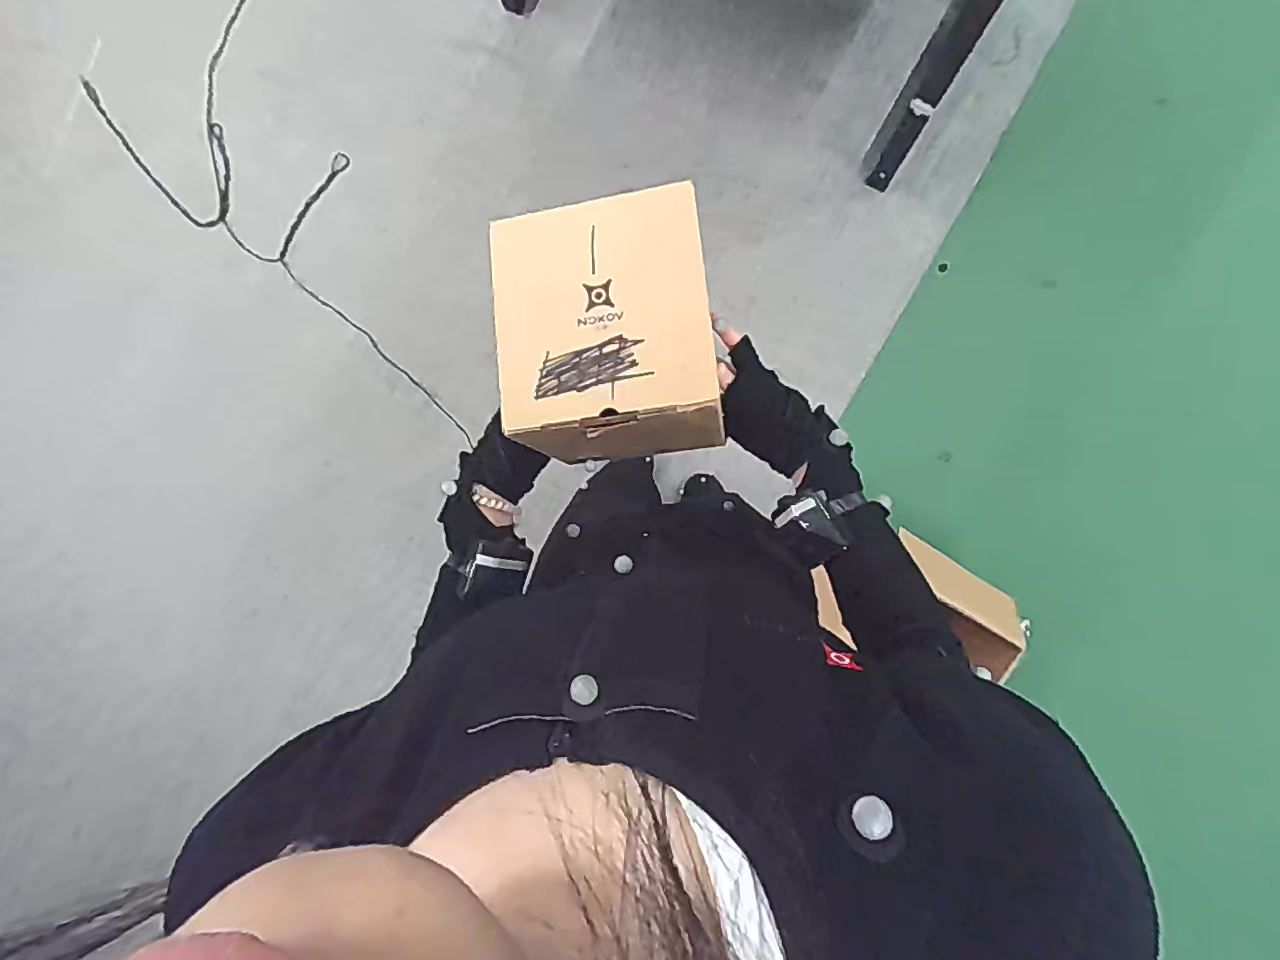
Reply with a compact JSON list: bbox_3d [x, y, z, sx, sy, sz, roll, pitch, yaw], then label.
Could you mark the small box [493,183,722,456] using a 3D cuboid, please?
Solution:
[{"bbox_3d":[-0.017,-0.121,0.486,0.168,0.176,0.179,-7,82,8],"label":"small box"}]
